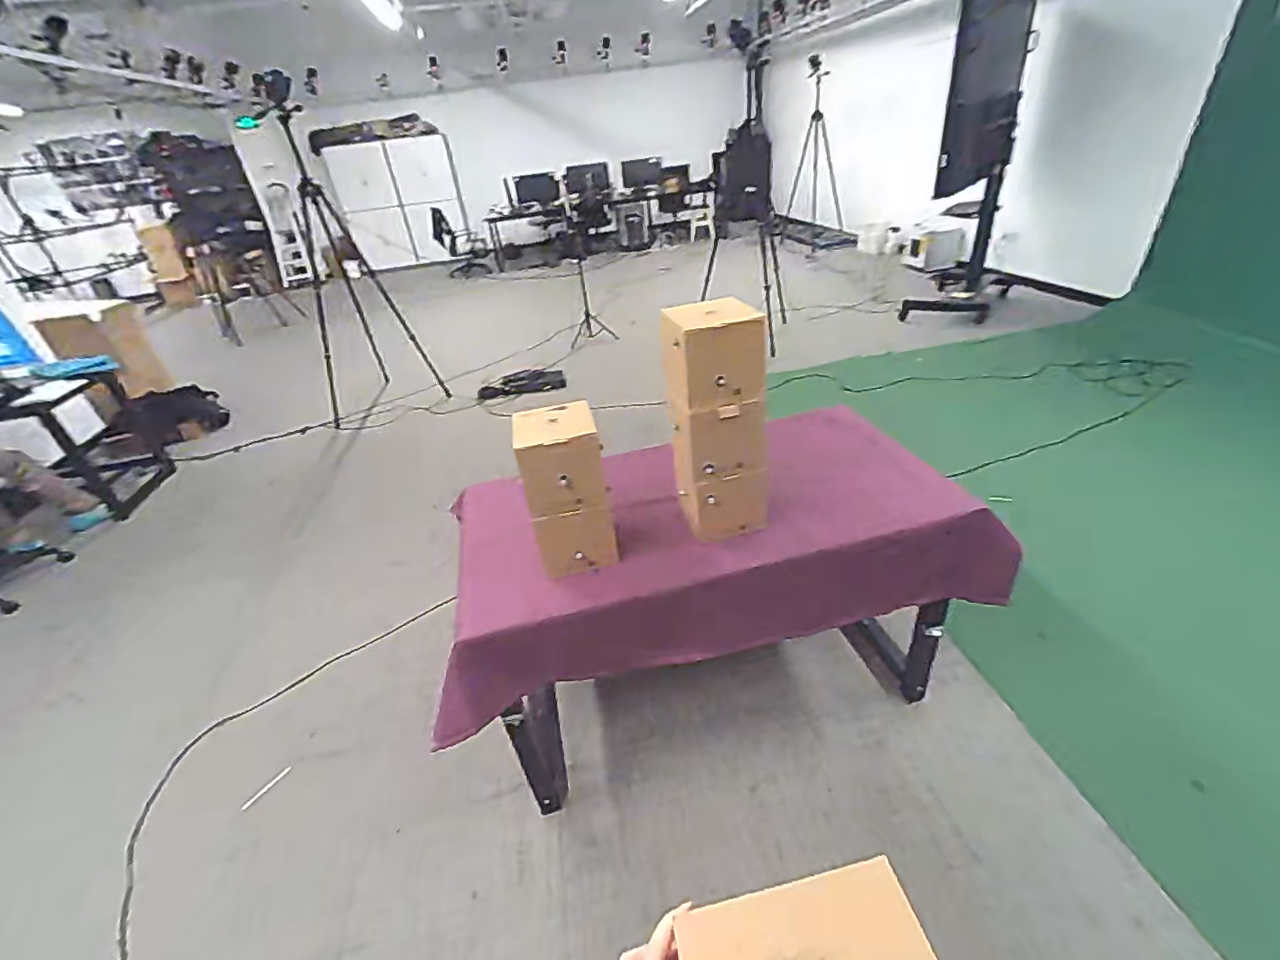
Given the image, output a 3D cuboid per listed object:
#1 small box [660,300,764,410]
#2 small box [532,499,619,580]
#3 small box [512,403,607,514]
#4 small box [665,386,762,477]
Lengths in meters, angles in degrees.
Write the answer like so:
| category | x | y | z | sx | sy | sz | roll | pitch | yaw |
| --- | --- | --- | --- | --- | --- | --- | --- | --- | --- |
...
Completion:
| category | x | y | z | sx | sy | sz | roll | pitch | yaw |
| --- | --- | --- | --- | --- | --- | --- | --- | --- | --- |
| small box | 0.145 | -0.261 | 1.122 | 0.168 | 0.176 | 0.179 | -13 | 32 | -9 |
| small box | -0.151 | 0.099 | 1.235 | 0.168 | 0.176 | 0.179 | -12 | 32 | -6 |
| small box | -0.171 | -0.042 | 1.151 | 0.168 | 0.176 | 0.179 | -12 | 33 | -7 |
| small box | 0.164 | -0.119 | 1.199 | 0.168 | 0.176 | 0.179 | -13 | 31 | -8 |
